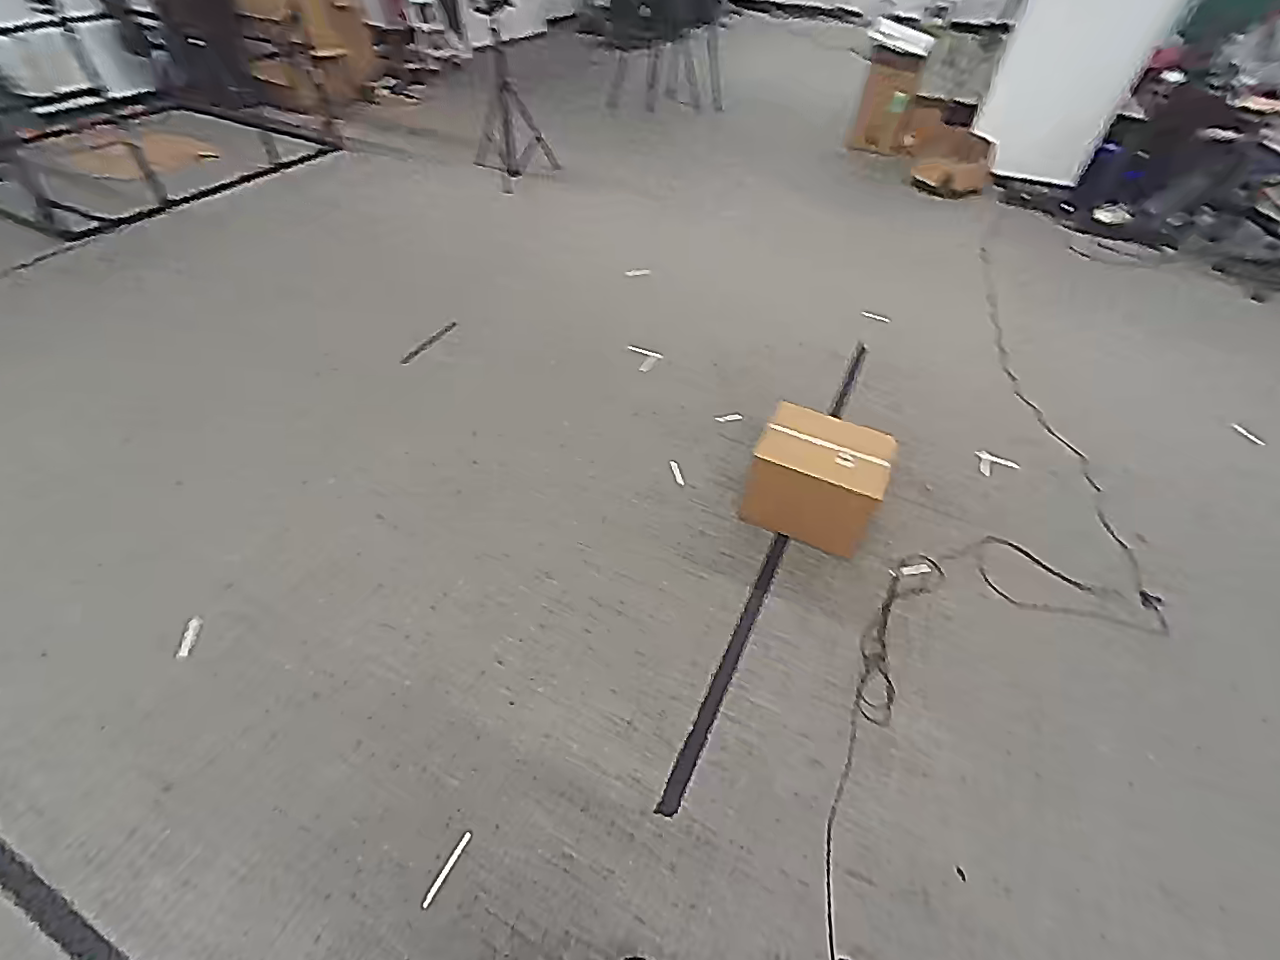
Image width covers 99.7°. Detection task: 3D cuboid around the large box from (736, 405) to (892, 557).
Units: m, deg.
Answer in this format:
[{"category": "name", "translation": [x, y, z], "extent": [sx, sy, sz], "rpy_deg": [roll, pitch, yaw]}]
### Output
[{"category": "large box", "translation": [0.586, 0.000, 1.857], "extent": [0.408, 0.320, 0.320], "rpy_deg": [22, 50, 16]}]
